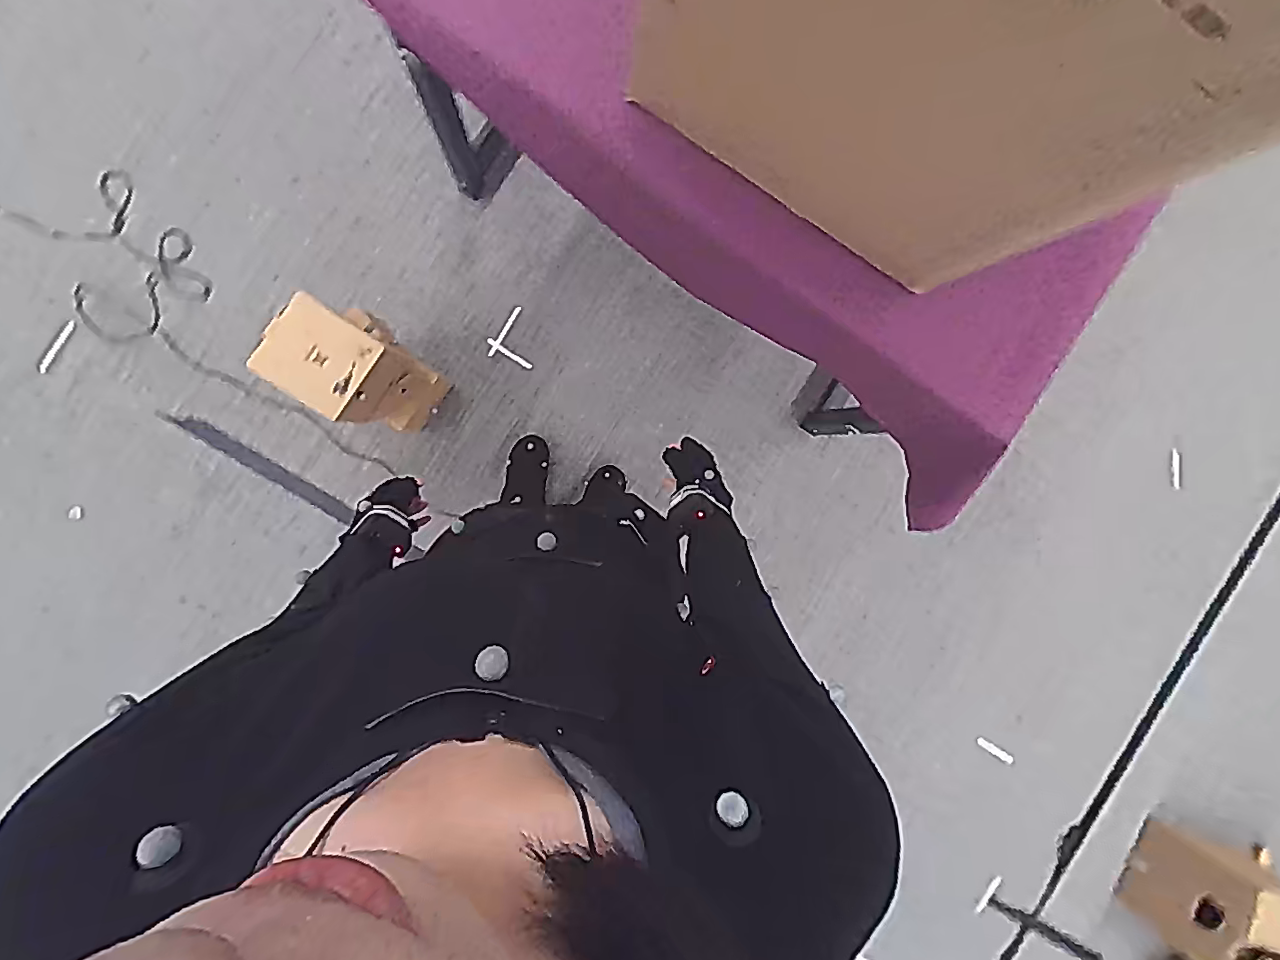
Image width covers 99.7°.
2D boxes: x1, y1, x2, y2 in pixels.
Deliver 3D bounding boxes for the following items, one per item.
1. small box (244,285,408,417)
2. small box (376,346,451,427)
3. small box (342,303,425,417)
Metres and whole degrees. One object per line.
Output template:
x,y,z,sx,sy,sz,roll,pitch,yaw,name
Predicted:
-0.578,-0.230,1.022,0.179,0.176,0.168,35,89,-9,small box
-0.603,-0.241,1.347,0.179,0.176,0.168,35,89,-9,small box
-0.603,-0.252,1.183,0.168,0.176,0.179,-36,97,-5,small box
